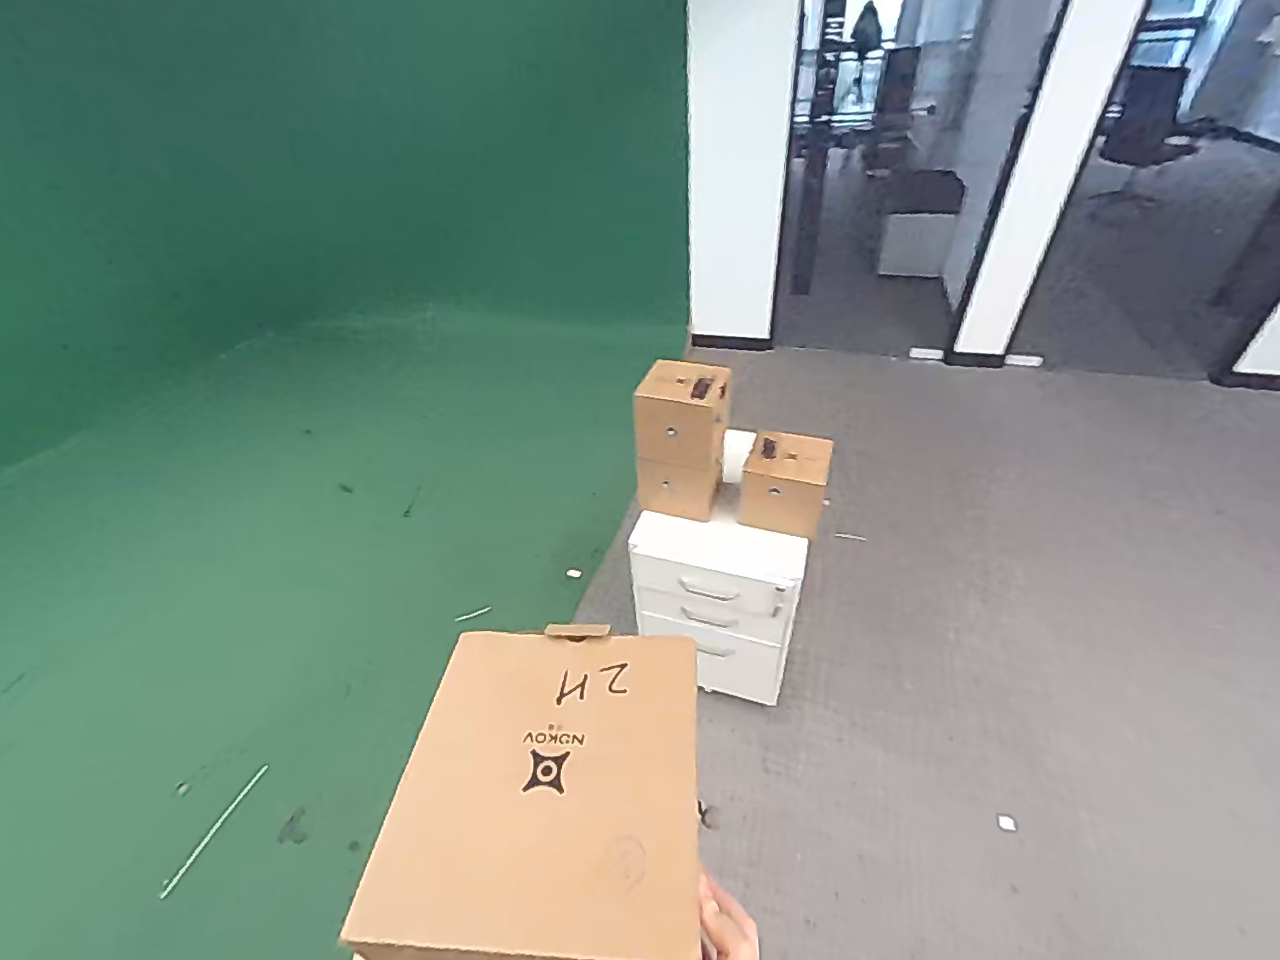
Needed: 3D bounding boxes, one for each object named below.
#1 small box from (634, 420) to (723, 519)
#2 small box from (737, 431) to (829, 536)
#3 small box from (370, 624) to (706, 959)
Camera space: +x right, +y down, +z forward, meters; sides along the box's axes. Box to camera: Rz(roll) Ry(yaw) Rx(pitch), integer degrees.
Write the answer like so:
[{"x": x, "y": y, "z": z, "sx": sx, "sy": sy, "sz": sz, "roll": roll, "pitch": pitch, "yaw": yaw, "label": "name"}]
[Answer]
[{"x": 0.097, "y": -0.025, "z": 1.328, "sx": 0.179, "sy": 0.176, "sz": 0.168, "roll": 11, "pitch": 43, "yaw": 16, "label": "small box"}, {"x": 0.331, "y": 0.010, "z": 1.268, "sx": 0.179, "sy": 0.176, "sz": 0.168, "roll": 11, "pitch": 43, "yaw": 18, "label": "small box"}, {"x": -0.039, "y": 0.223, "z": 0.365, "sx": 0.168, "sy": 0.176, "sz": 0.179, "roll": 1, "pitch": 36, "yaw": 5, "label": "small box"}]
